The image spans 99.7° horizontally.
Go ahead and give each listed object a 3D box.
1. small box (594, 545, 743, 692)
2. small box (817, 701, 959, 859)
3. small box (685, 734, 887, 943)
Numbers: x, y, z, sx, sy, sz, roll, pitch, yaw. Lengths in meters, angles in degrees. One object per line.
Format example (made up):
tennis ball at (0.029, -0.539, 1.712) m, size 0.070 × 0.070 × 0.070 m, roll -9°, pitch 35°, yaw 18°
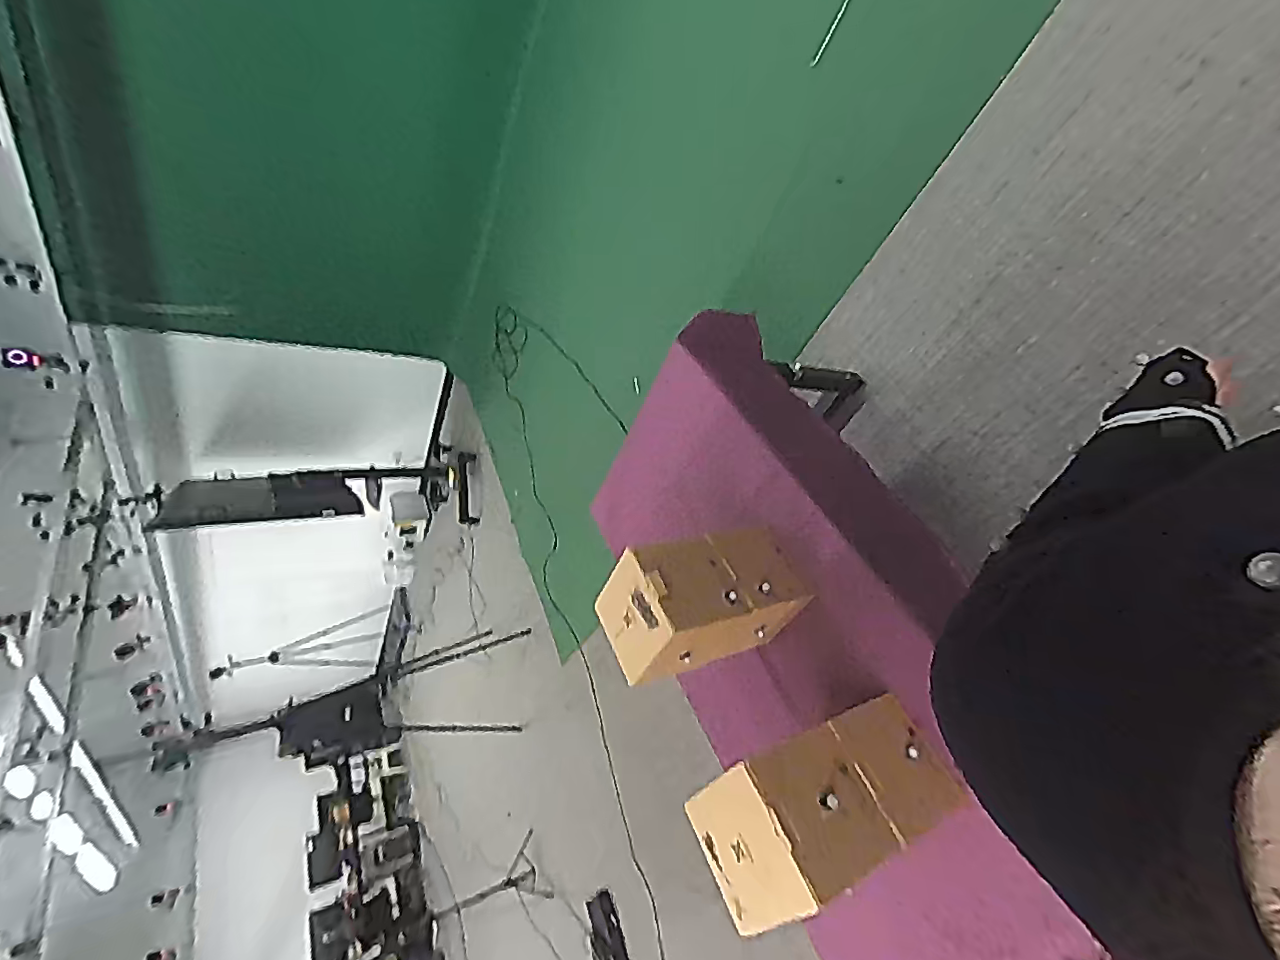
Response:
small box at (0.050, 0.228, 0.927) m, size 0.168 × 0.176 × 0.179 m, roll 59°, pitch 137°, yaw 35°
small box at (0.334, 0.465, 0.821) m, size 0.168 × 0.176 × 0.179 m, roll 60°, pitch 136°, yaw 34°
small box at (0.198, 0.471, 0.728) m, size 0.179 × 0.176 × 0.168 m, roll -59°, pitch 46°, yaw 36°
